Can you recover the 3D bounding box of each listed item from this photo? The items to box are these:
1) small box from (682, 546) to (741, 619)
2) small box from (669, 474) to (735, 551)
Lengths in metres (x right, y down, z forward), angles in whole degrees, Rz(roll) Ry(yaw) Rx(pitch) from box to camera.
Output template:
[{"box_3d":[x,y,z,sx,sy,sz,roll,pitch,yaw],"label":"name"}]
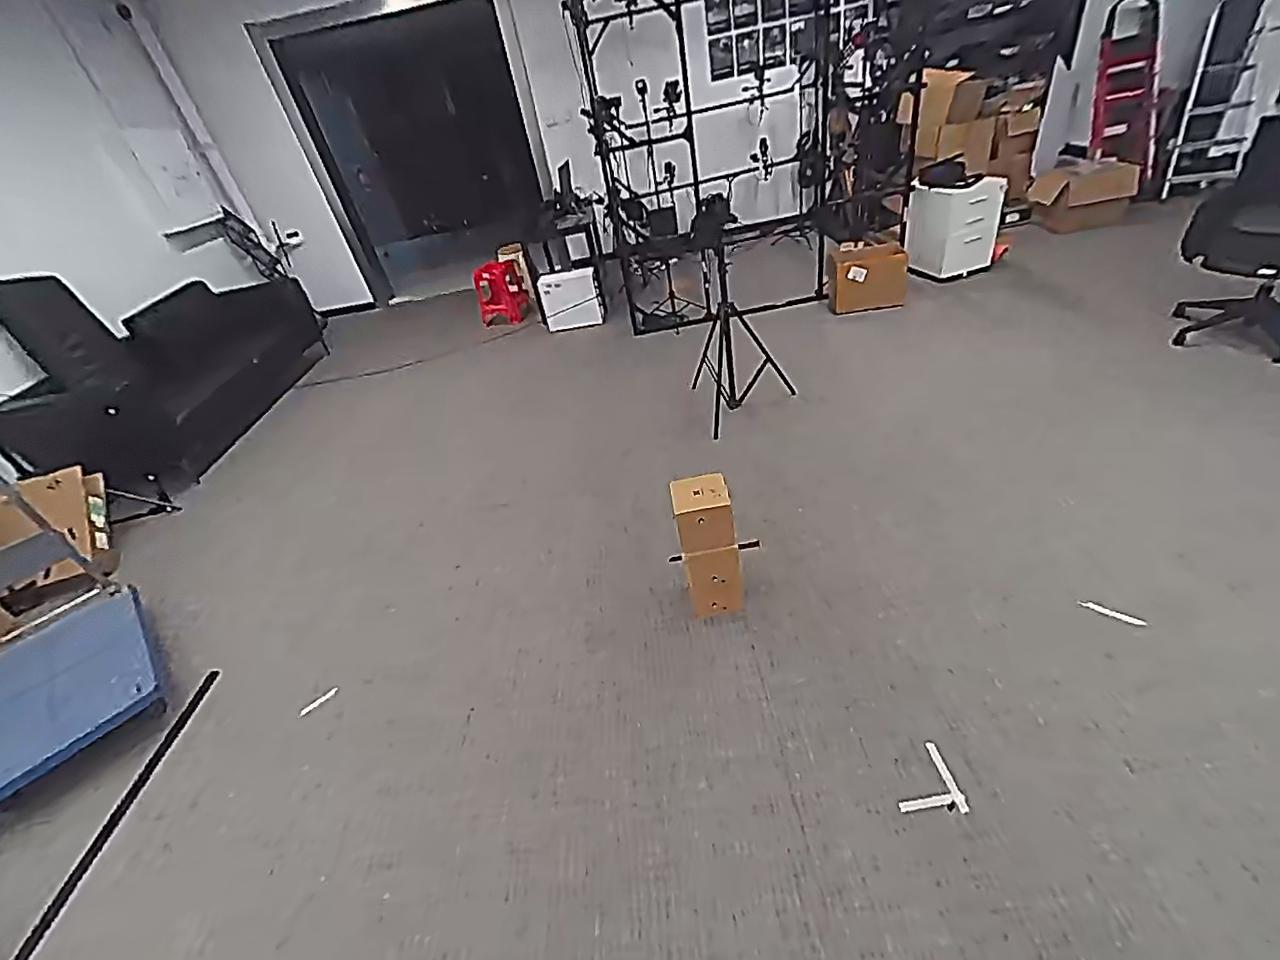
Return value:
[{"box_3d":[0.253,0.362,1.917,0.168,0.176,0.179,-13,36,-1],"label":"small box"},{"box_3d":[0.197,0.107,1.715,0.179,0.176,0.168,-10,37,3],"label":"small box"}]
